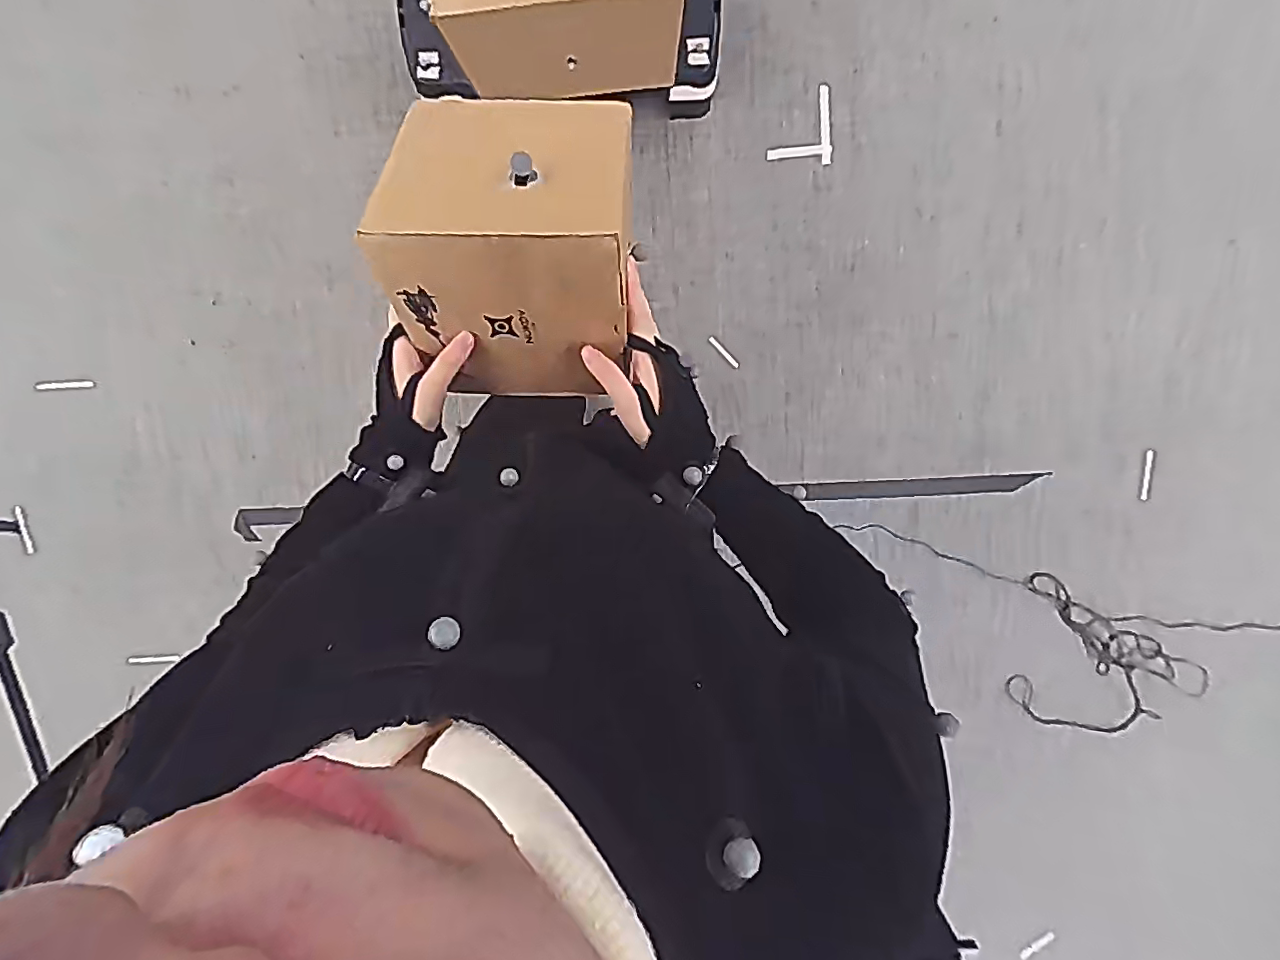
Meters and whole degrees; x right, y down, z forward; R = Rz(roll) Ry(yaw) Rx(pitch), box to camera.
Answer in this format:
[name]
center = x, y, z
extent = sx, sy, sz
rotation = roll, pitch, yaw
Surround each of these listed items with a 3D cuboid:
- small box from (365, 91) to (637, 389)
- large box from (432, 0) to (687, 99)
[small box]
center = -0.090, -0.194, 0.451
extent = 0.179, 0.168, 0.176
rotation = 1, 60, 1
[large box]
center = -0.137, -0.916, 0.952
extent = 0.408, 0.320, 0.320
rotation = -6, 101, 2
